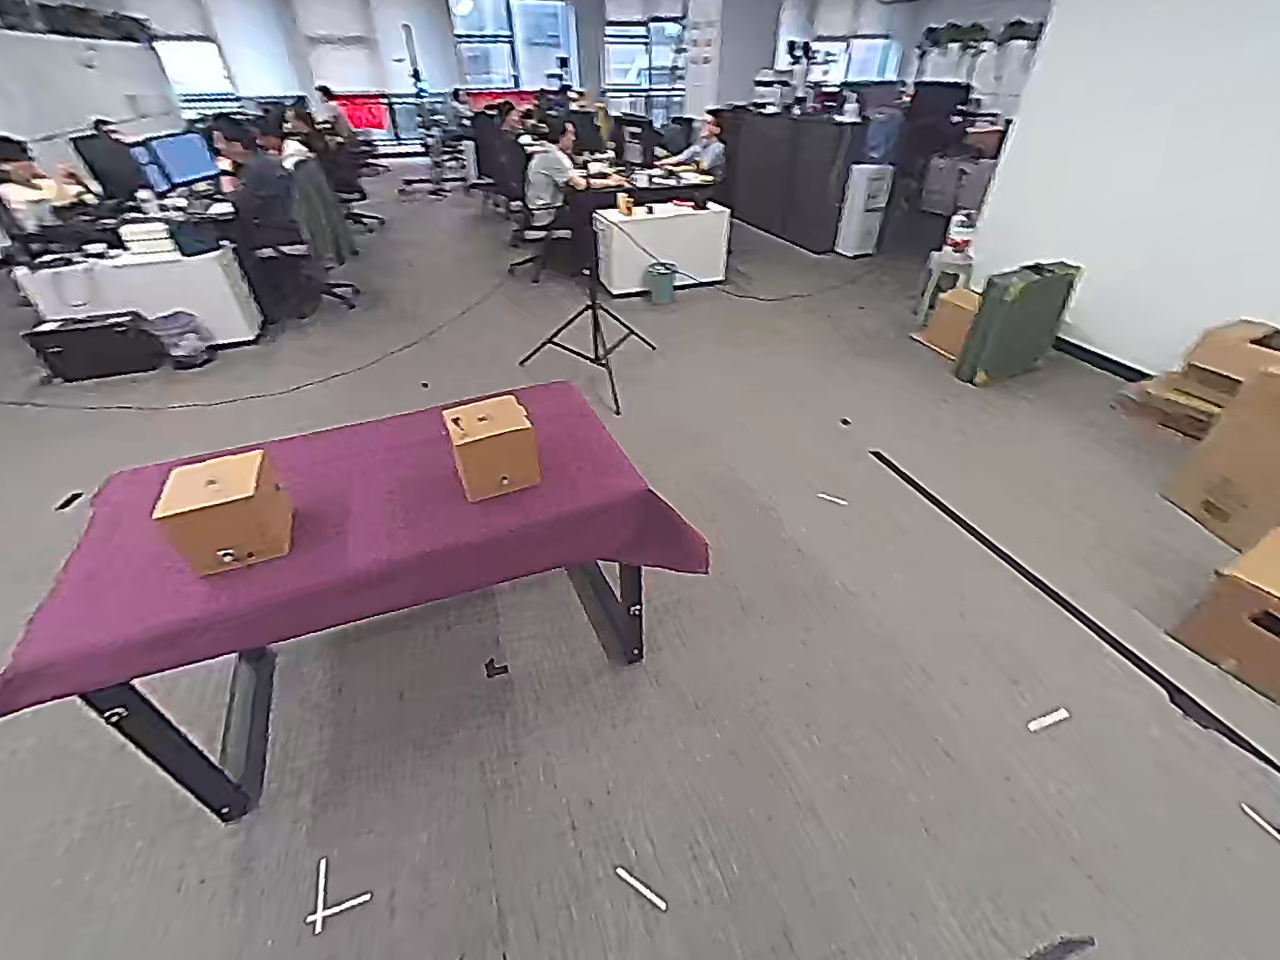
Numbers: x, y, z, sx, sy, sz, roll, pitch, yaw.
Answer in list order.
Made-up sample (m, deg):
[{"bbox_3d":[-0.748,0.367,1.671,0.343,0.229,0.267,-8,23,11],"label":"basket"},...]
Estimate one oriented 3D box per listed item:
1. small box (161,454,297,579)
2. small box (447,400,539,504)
[{"bbox_3d":[-0.843,0.074,1.132,0.168,0.176,0.179,-17,41,-18],"label":"small box"},{"bbox_3d":[-0.351,-0.068,1.311,0.179,0.176,0.168,-16,39,-20],"label":"small box"}]
